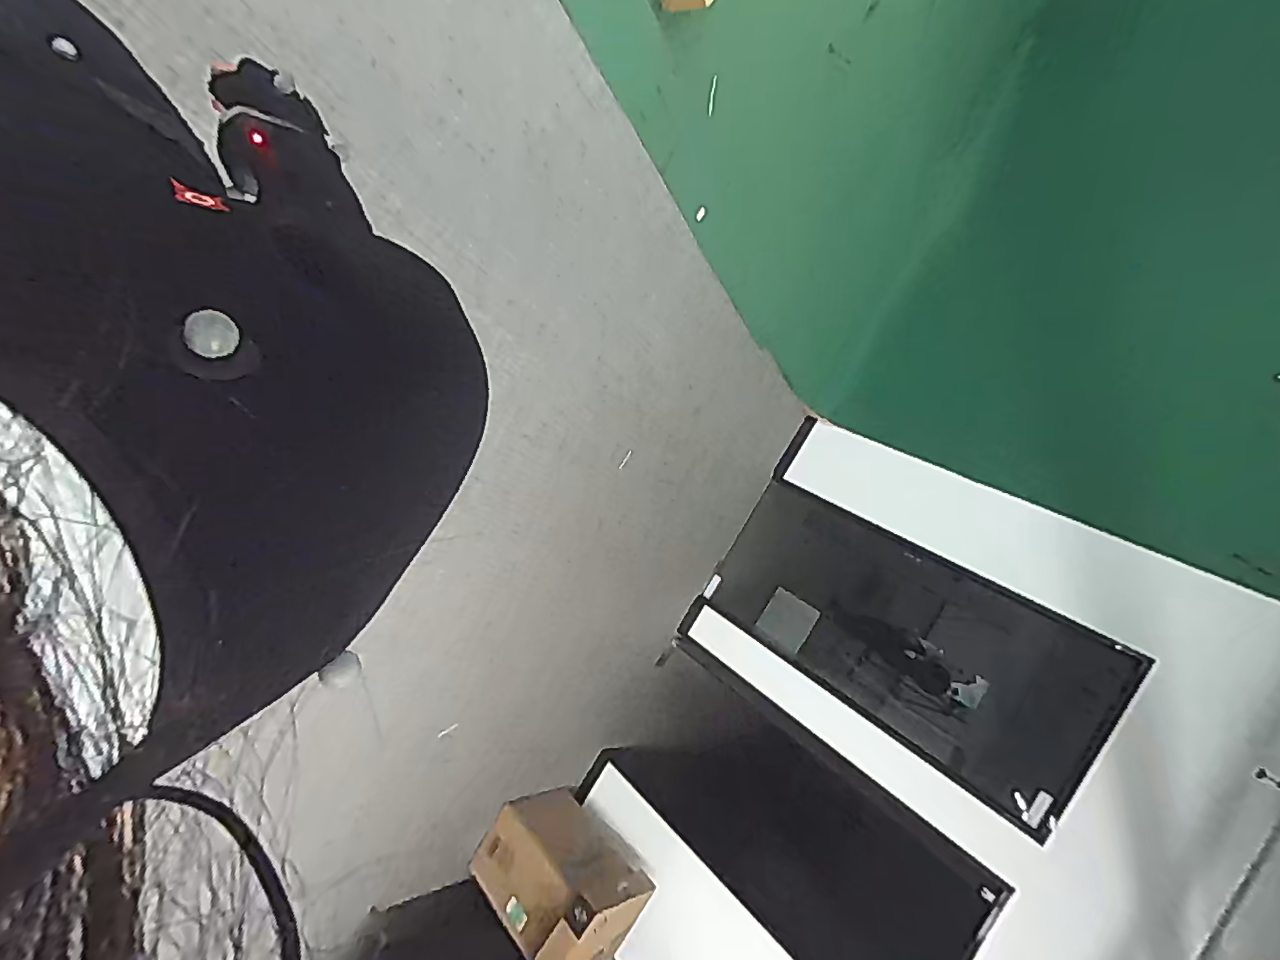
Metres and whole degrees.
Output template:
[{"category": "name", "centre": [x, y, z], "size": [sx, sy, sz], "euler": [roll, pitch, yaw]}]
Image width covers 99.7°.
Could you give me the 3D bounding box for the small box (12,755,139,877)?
[{"category": "small box", "centre": [-1.393, 0.819, 1.337], "size": [0.179, 0.176, 0.168], "euler": [-59, 145, 0]}]
